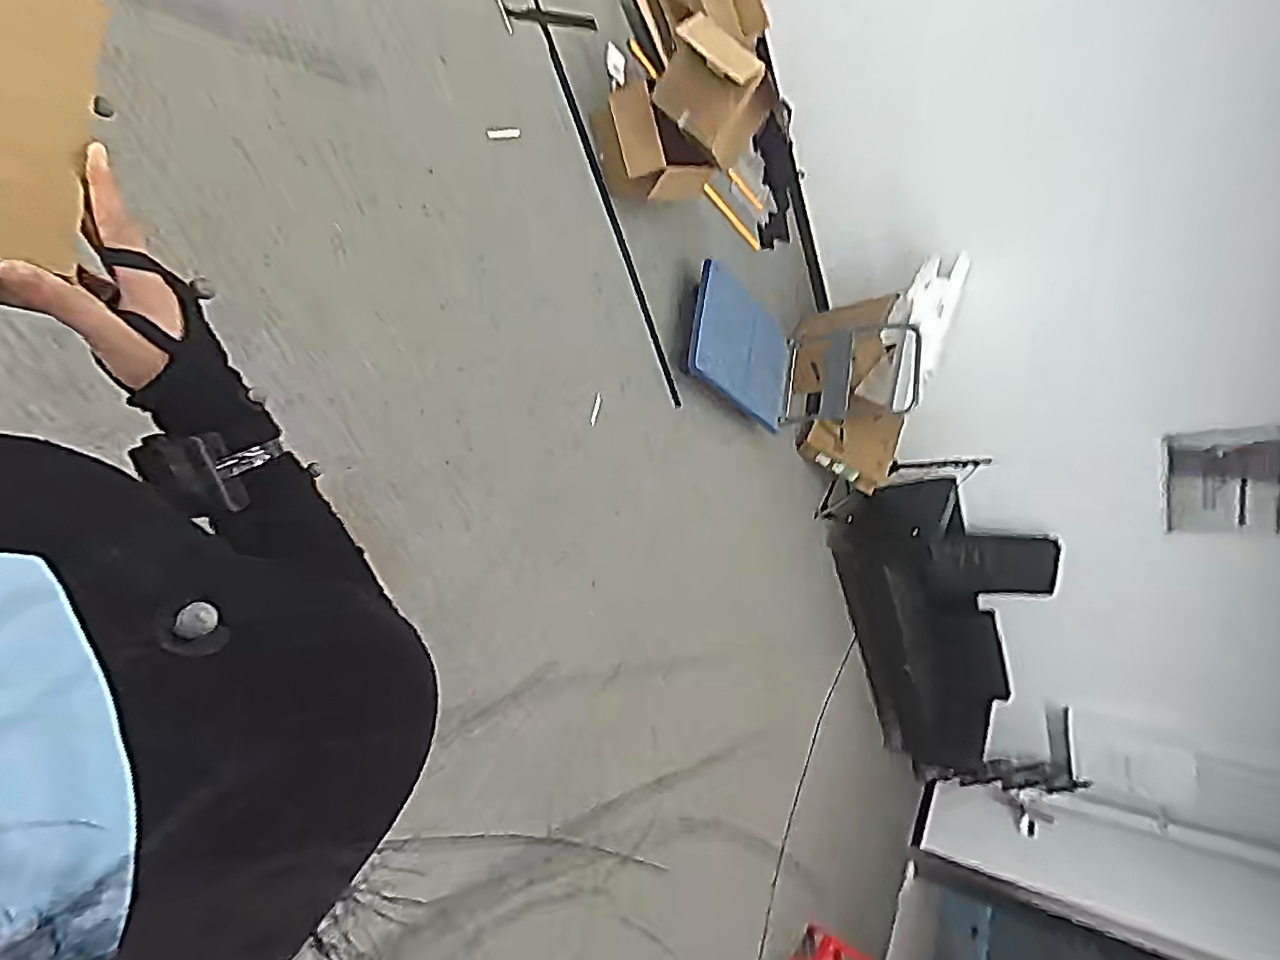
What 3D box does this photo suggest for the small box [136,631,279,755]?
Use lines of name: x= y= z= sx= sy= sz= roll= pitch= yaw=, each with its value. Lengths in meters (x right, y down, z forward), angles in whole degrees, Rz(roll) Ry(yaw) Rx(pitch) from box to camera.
small box: x=-0.919 y=0.438 z=1.147 sx=0.168 sy=0.176 sz=0.179 roll=-36 pitch=115 yaw=-44
